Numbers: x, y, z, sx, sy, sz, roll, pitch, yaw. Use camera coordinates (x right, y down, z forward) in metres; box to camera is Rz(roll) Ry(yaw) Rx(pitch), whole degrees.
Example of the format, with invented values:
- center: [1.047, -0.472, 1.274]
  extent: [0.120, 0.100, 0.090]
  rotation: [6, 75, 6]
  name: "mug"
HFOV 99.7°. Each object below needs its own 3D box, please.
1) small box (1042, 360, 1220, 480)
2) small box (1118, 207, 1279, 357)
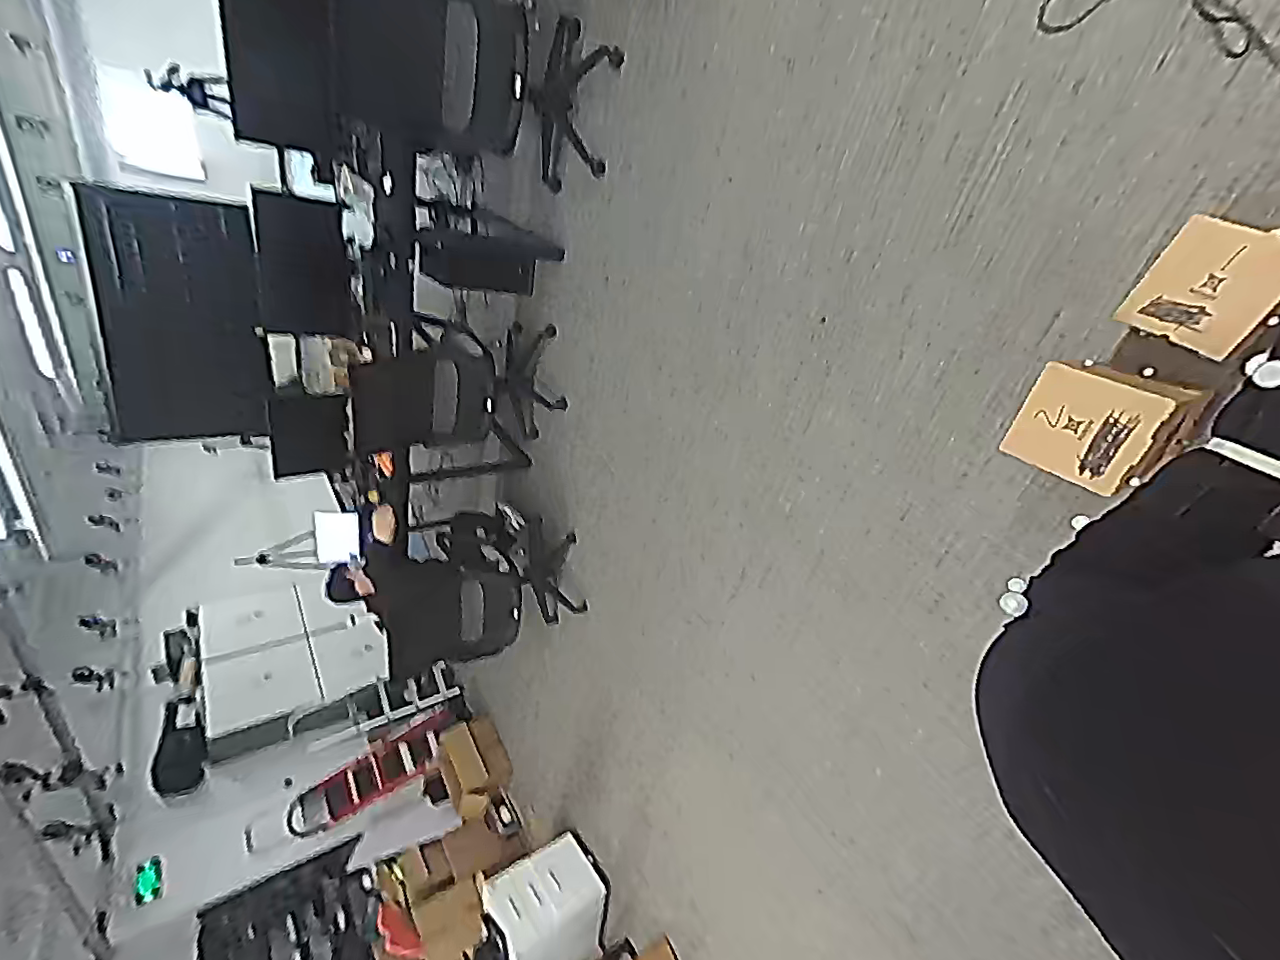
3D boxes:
- center: [0.895, -0.116, 0.989]
  extent: [0.179, 0.176, 0.168]
  rotation: [35, 125, 43]
  name: "small box"
- center: [0.943, -0.313, 0.872]
  extent: [0.168, 0.176, 0.179]
  rotation: [47, 133, 36]
  name: "small box"
